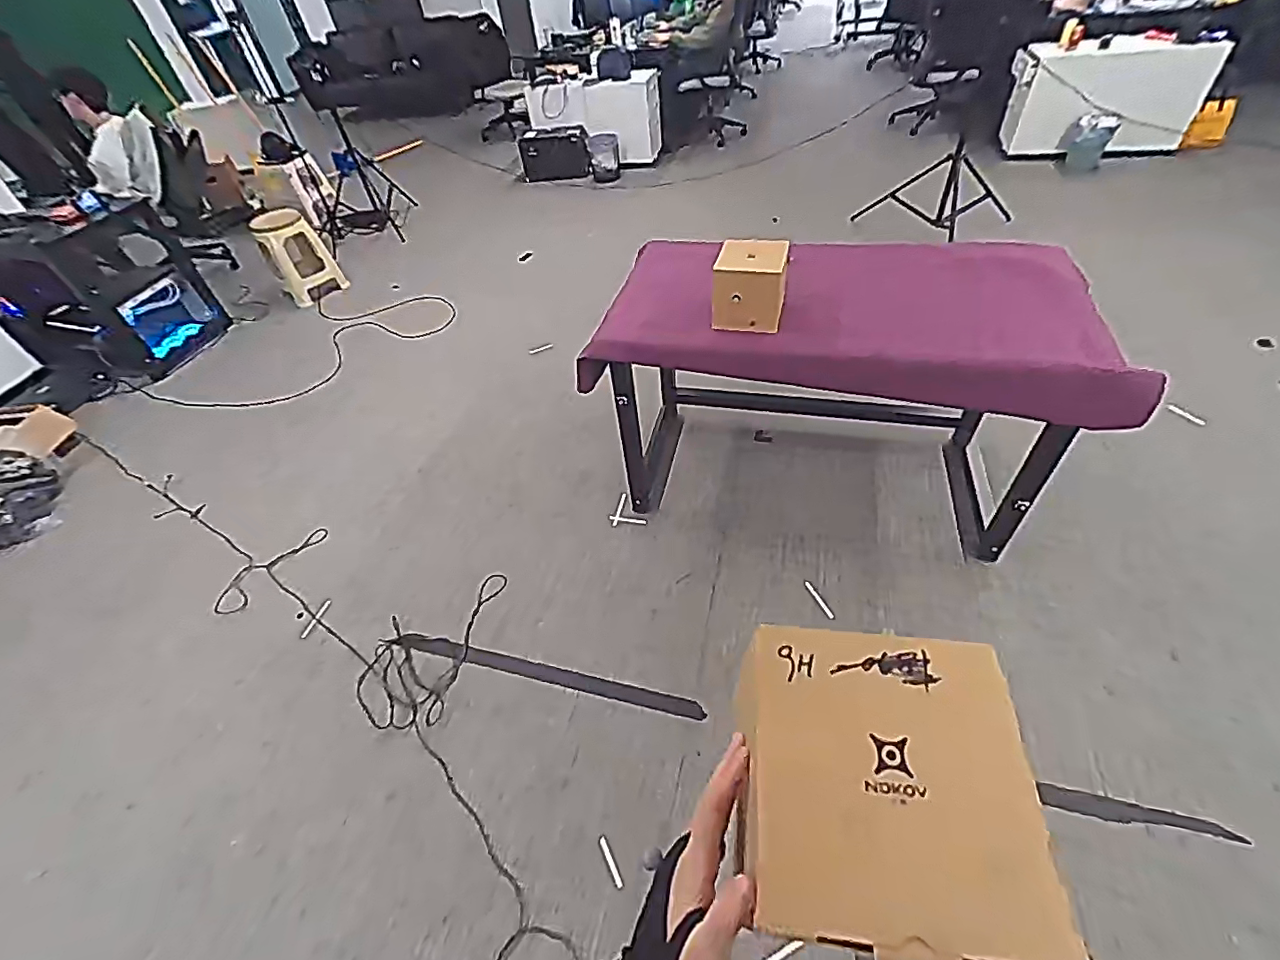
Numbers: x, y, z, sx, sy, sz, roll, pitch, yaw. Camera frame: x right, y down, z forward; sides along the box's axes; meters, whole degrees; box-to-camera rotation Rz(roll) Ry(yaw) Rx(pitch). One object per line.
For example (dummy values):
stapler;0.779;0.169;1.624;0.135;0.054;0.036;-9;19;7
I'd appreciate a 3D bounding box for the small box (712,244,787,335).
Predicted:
small box;0.284;-0.492;1.403;0.168;0.176;0.179;8;47;15

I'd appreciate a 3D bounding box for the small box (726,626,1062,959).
small box;0.155;0.229;0.402;0.168;0.176;0.179;4;54;6
